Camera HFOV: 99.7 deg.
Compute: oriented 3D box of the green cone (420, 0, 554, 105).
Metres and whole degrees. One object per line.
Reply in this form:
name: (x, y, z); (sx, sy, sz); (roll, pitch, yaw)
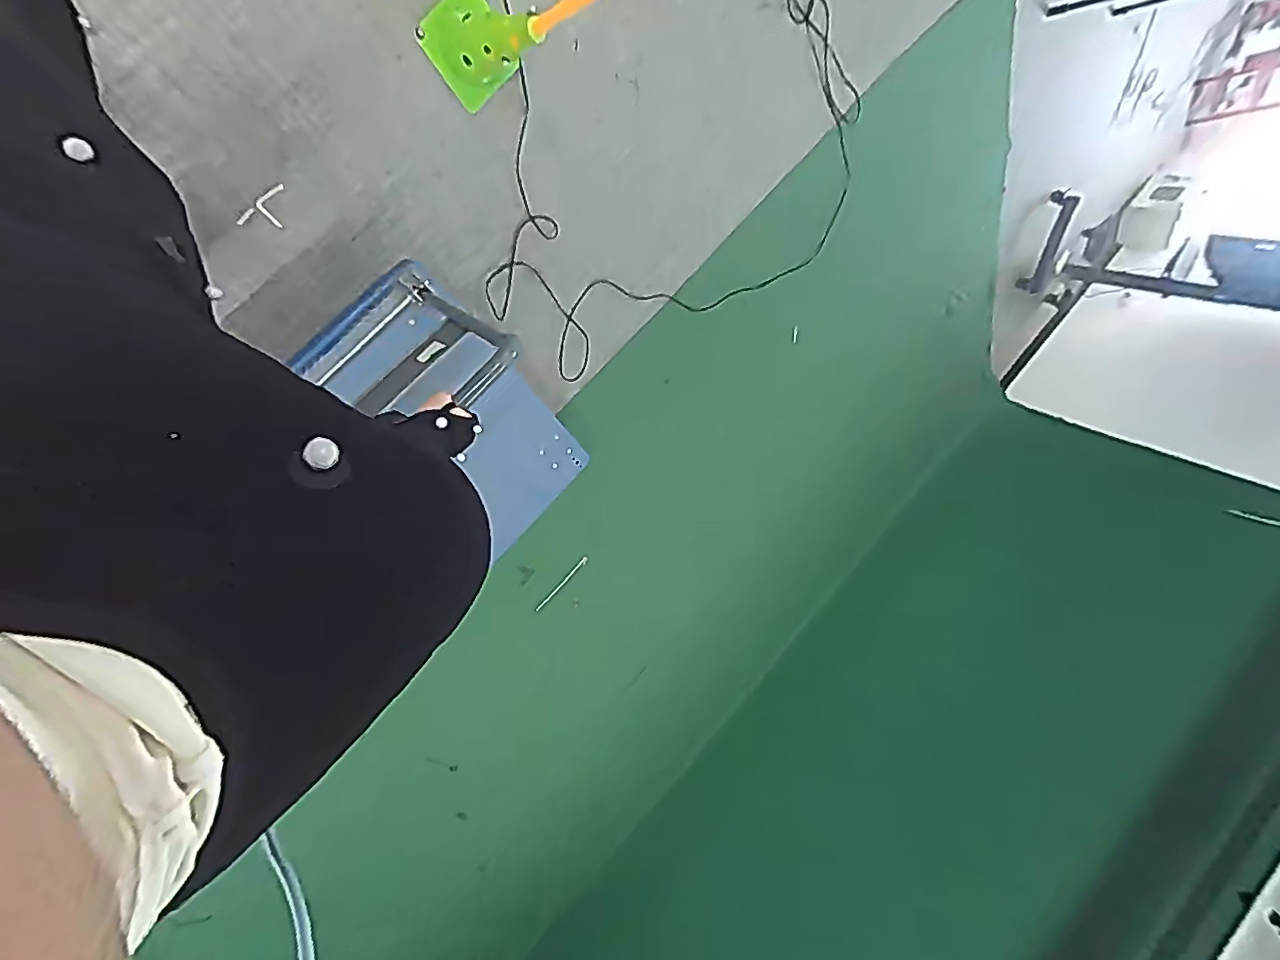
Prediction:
green cone: (-0.296, -0.988, 1.189); (0.202, 0.368, 0.200); (-51, 138, -4)
